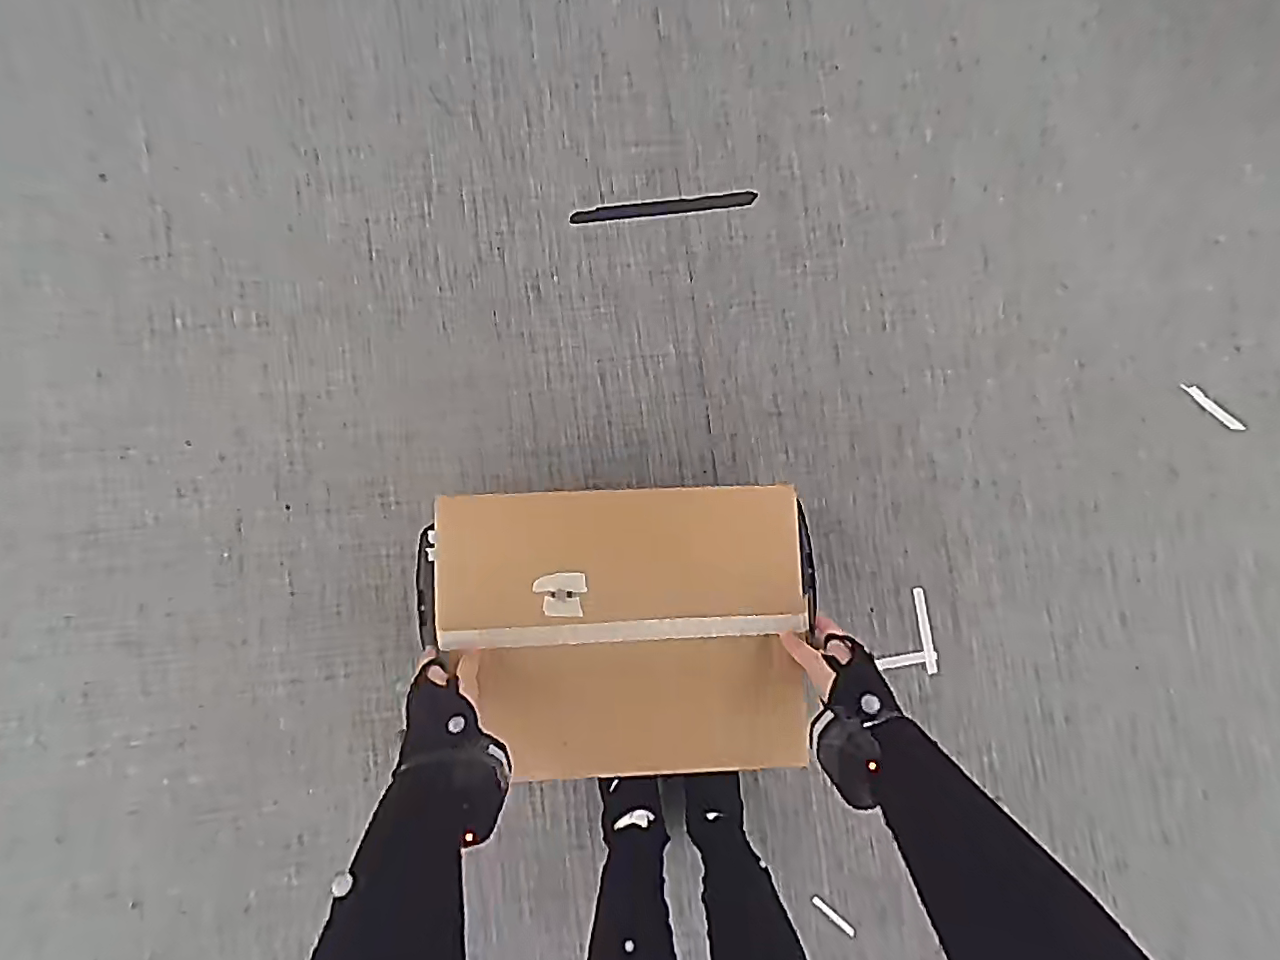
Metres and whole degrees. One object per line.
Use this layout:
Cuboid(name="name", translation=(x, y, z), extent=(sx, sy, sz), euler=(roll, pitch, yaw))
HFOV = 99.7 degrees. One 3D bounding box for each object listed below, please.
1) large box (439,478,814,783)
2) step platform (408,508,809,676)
Cuboid(name="large box", translation=(-0.017, 0.170, 0.738), extent=(0.408, 0.320, 0.320), euler=(-2, 86, -1))
Cuboid(name="step platform", translation=(-0.051, 0.190, 0.975), extent=(0.684, 0.204, 0.286), euler=(0, 87, -1))
